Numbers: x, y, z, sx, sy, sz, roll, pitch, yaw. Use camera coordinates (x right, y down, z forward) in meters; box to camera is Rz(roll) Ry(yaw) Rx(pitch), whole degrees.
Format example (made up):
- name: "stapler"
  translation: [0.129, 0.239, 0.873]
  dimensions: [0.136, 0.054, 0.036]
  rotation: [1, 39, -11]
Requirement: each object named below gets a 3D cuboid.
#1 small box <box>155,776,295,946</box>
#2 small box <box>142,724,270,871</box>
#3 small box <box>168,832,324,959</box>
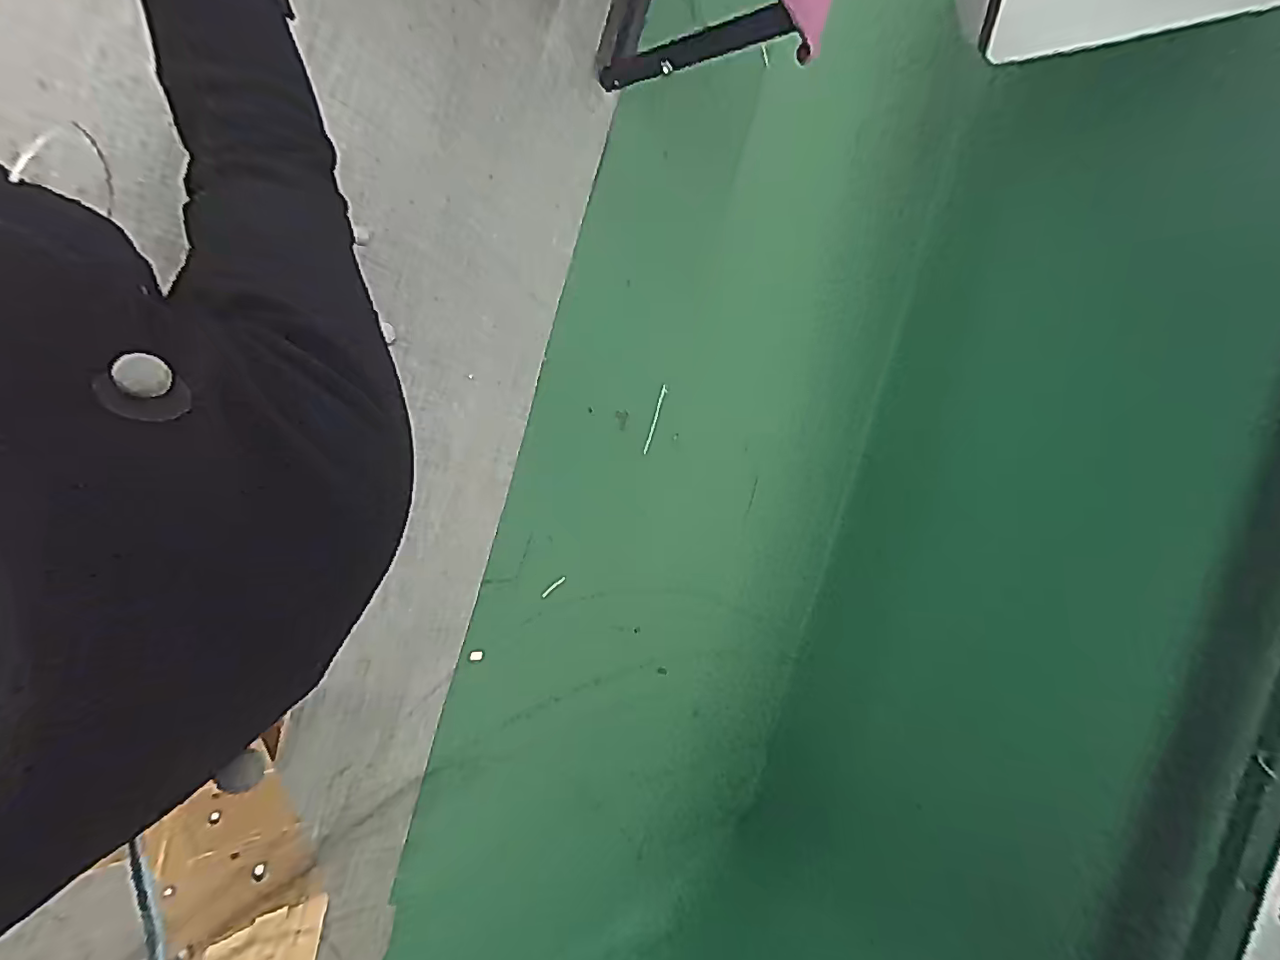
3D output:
- name: "small box"
  translation: [-0.775, 0.686, 1.007]
  dimensions: [0.168, 0.176, 0.179]
  rotation: [9, 98, -49]
- name: "small box"
  translation: [-0.893, 0.637, 1.109]
  dimensions: [0.168, 0.176, 0.179]
  rotation: [12, 96, -50]
- name: "small box"
  translation: [-0.659, 0.731, 0.901]
  dimensions: [0.168, 0.176, 0.179]
  rotation: [9, 97, -48]
